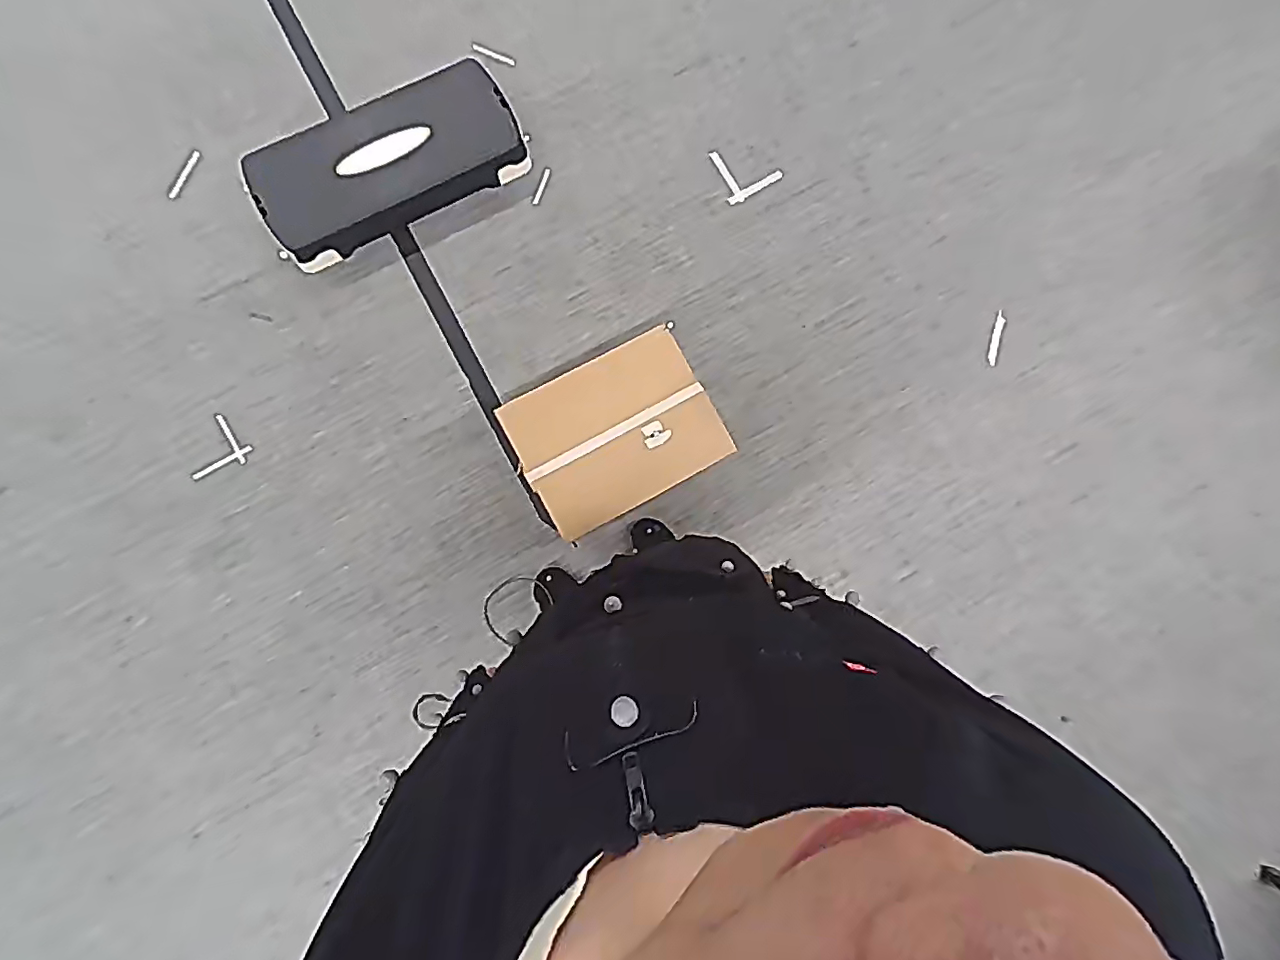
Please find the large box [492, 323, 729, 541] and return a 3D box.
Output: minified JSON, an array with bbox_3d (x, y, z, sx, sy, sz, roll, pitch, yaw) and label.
[{"bbox_3d":[-0.070,-0.088,1.247,0.408,0.320,0.320,-29,88,-7],"label":"large box"}]
